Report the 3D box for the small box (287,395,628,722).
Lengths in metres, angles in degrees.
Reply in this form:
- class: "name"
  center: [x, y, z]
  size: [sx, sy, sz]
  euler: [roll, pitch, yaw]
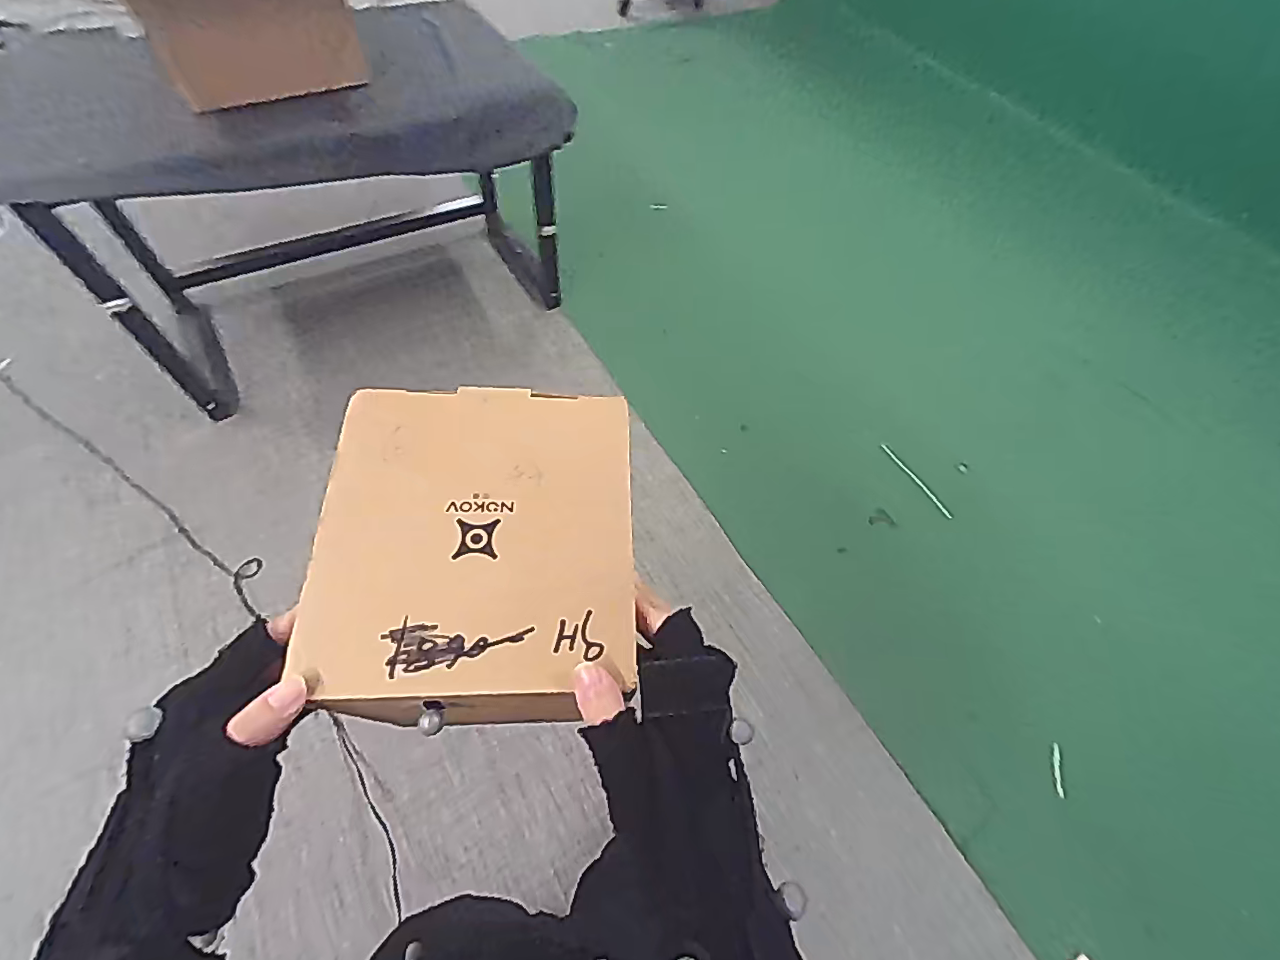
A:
- class: "small box"
  center: [-0.097, 0.062, 0.373]
  size: [0.168, 0.176, 0.179]
  euler: [0, 61, -5]
